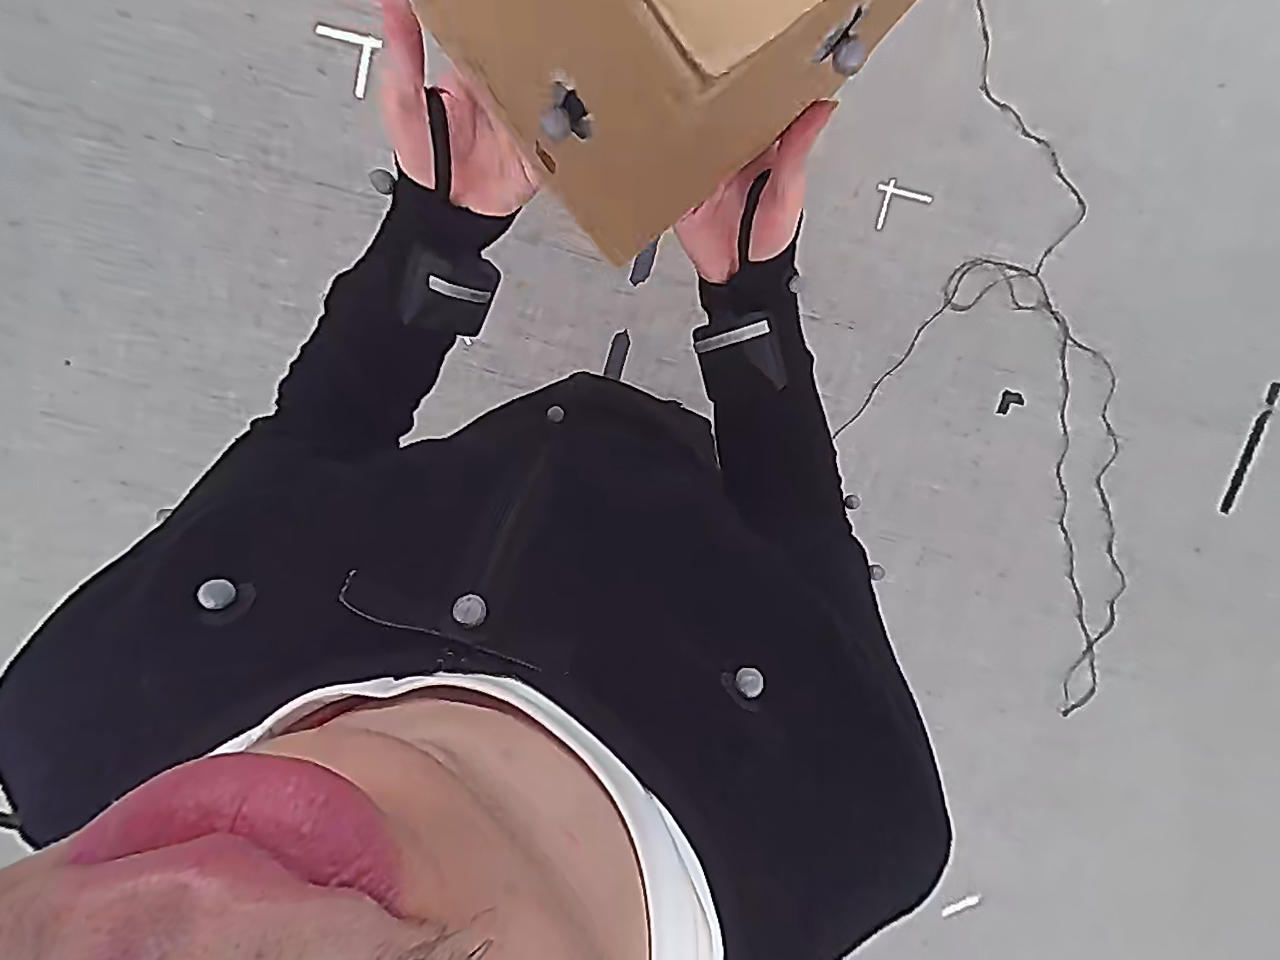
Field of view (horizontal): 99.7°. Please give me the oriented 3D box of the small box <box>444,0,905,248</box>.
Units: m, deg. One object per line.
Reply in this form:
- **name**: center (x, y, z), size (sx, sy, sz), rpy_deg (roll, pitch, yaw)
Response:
- **small box**: center (0.019, -0.237, 0.234), size (0.179, 0.176, 0.168), rpy_deg (-42, 102, -7)
